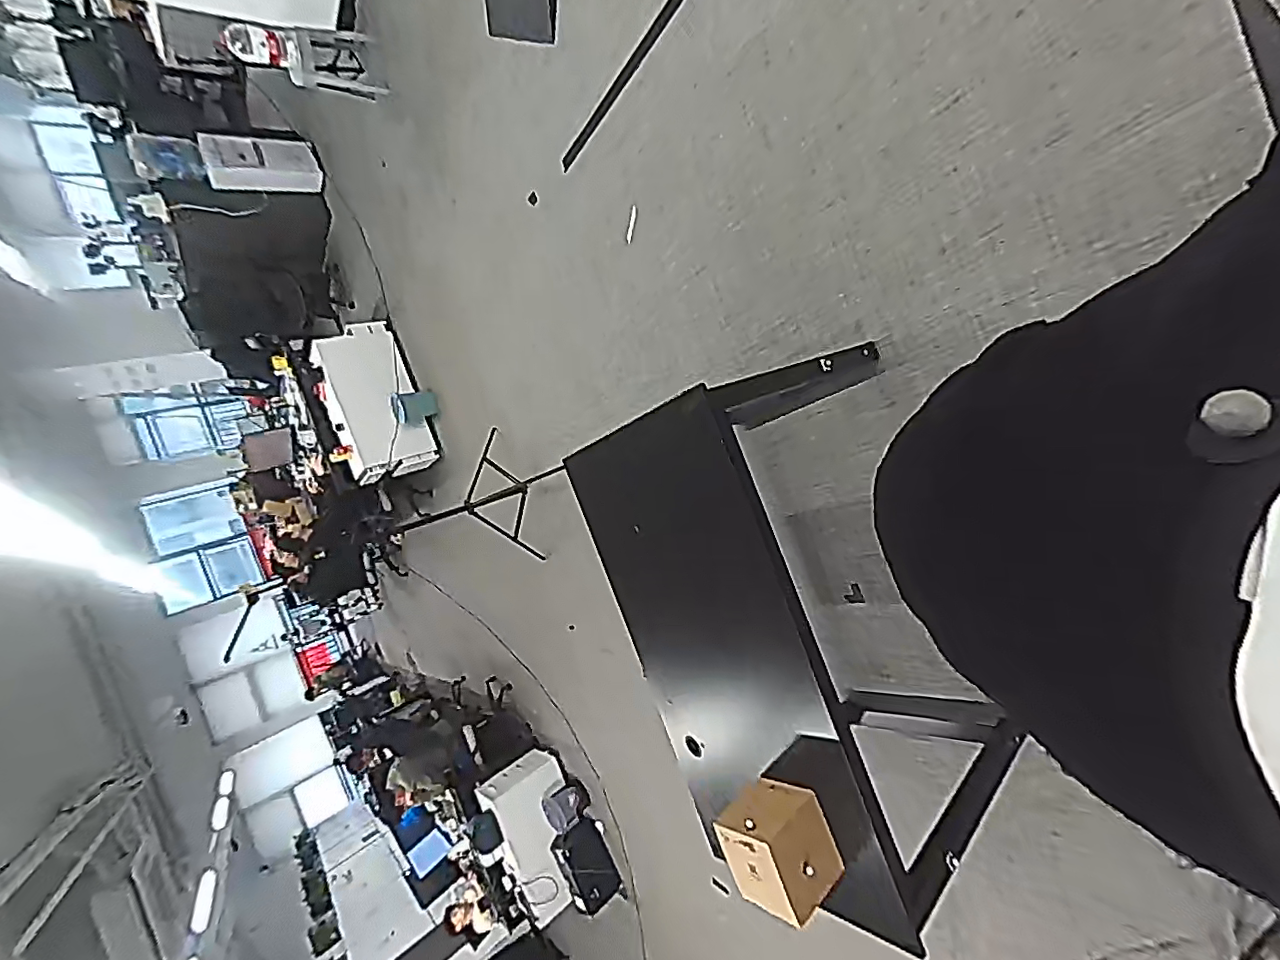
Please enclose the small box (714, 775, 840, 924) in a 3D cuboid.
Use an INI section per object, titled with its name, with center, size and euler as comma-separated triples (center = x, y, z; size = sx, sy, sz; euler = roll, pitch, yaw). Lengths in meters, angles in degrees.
[small box]
center = 0.298, 0.779, 1.161
size = 0.168, 0.176, 0.179
euler = -24, 88, 53
